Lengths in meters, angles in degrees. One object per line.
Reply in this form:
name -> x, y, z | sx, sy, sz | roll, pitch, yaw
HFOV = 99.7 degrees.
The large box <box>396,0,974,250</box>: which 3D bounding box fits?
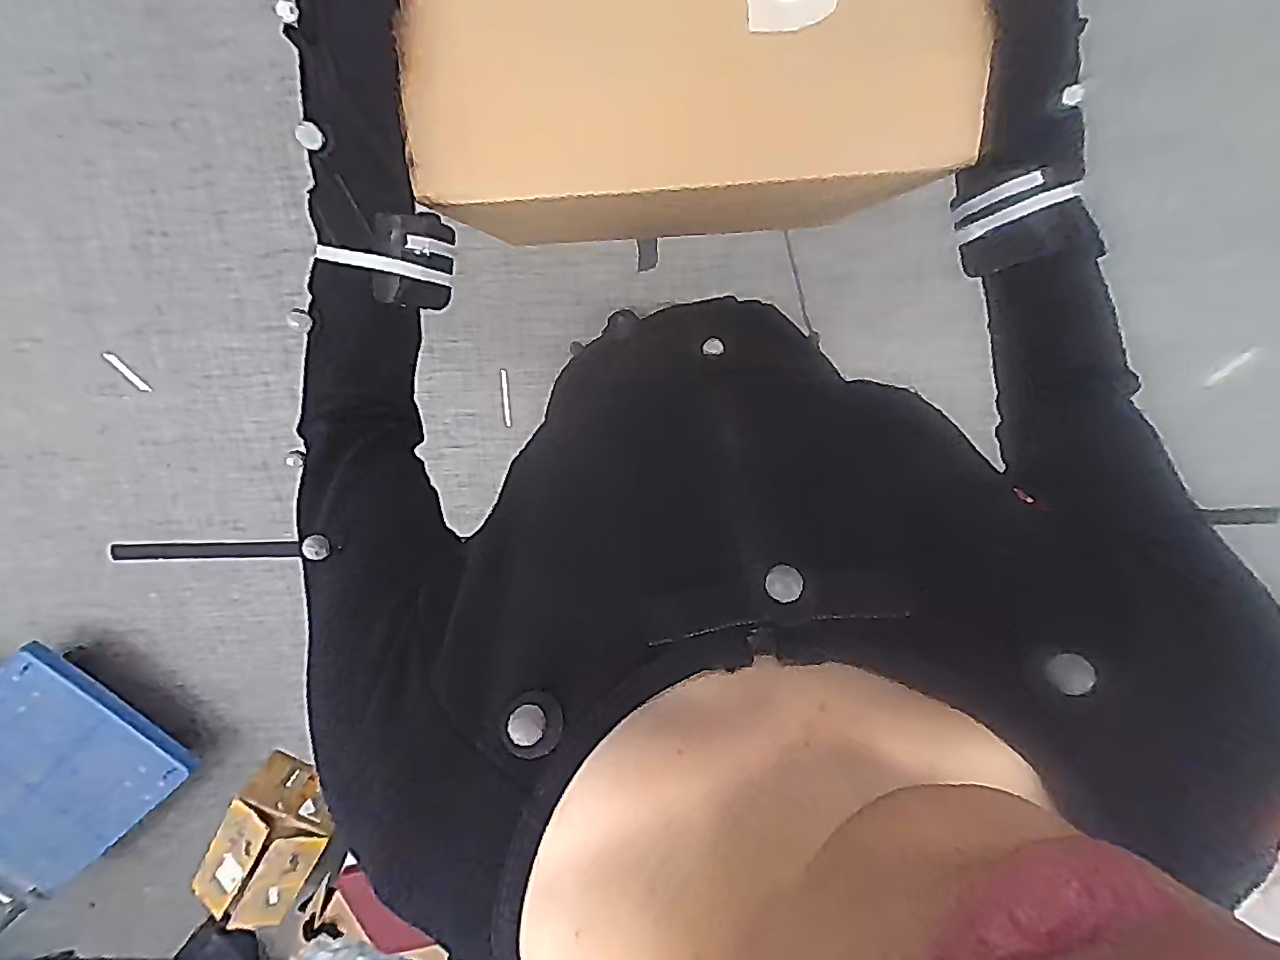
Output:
large box -> 0.025, -0.411, 0.500 | 0.408, 0.320, 0.320 | -4, 108, 1
